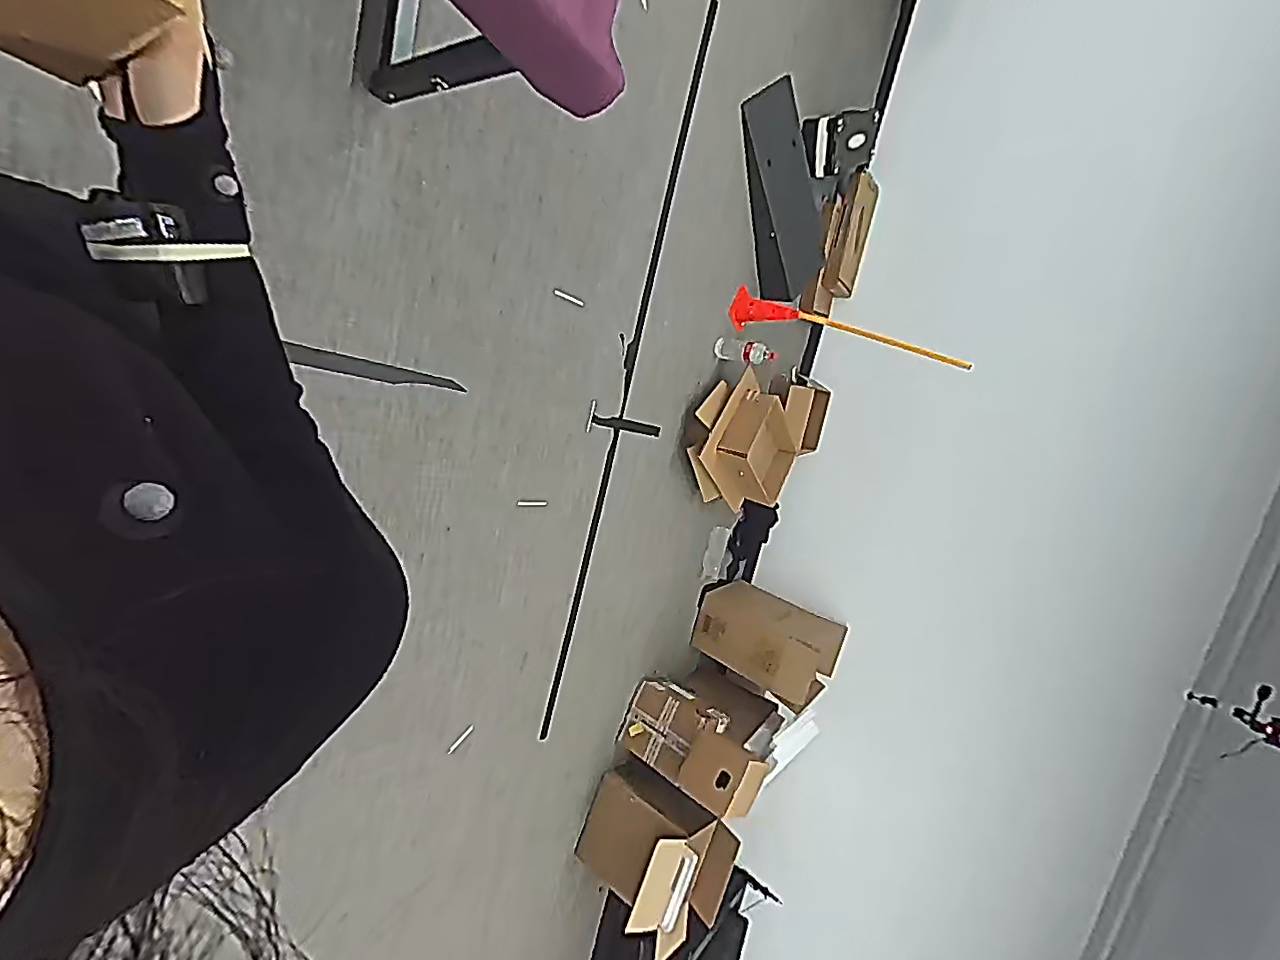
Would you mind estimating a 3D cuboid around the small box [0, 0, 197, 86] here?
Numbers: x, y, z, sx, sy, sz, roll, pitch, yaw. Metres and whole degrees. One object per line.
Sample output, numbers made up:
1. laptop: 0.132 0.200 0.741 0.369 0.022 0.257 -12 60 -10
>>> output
1. small box: -0.307 -0.315 0.228 0.168 0.176 0.179 5 94 -58
